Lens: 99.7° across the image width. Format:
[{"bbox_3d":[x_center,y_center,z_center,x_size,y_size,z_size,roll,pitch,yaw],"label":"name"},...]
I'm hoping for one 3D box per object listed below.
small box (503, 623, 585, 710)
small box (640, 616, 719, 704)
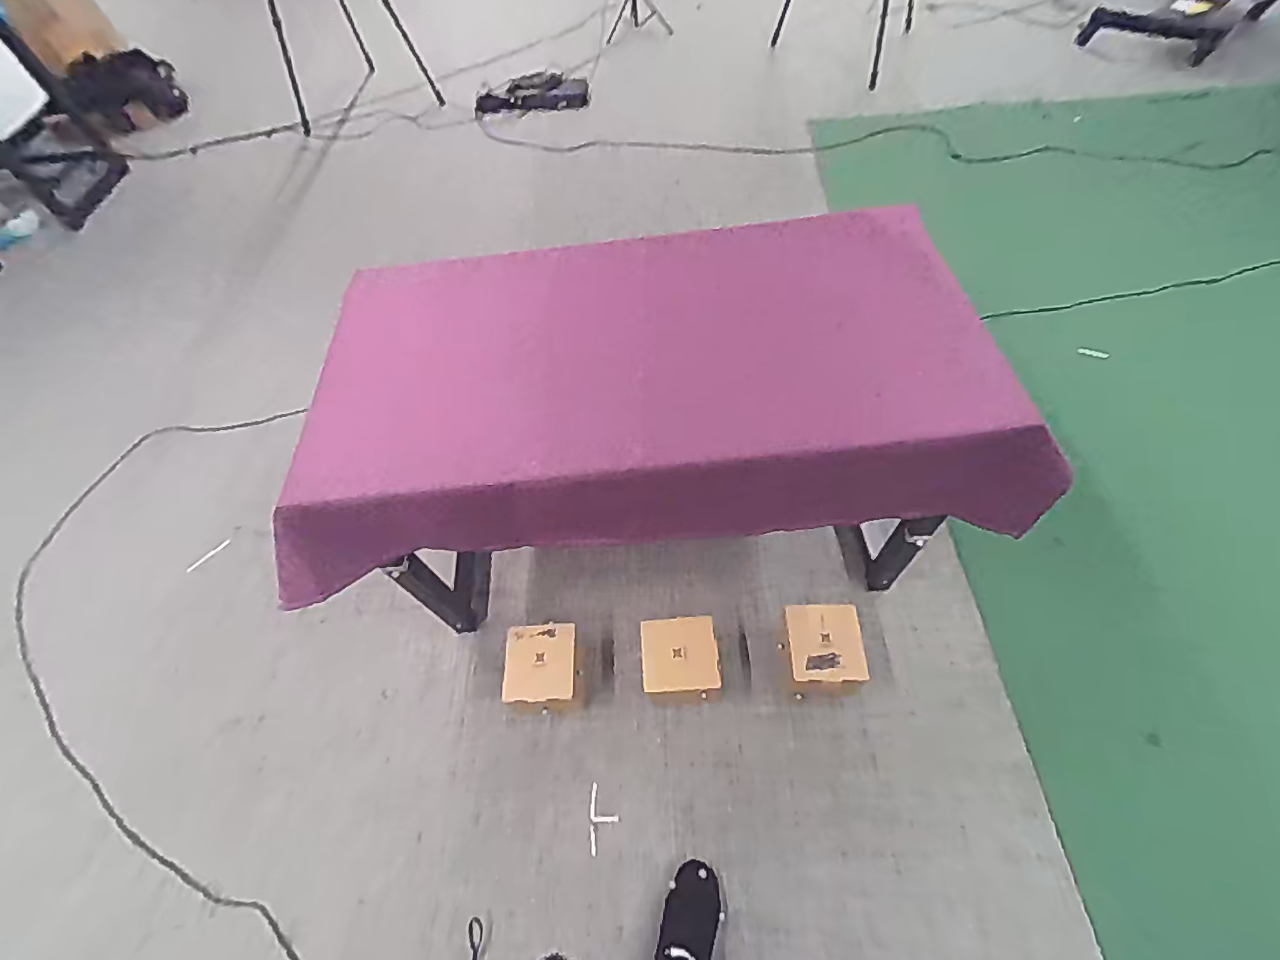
[{"bbox_3d":[-0.229,0.466,1.337,0.168,0.176,0.179,-3,58,1],"label":"small box"},{"bbox_3d":[0.096,0.444,1.321,0.179,0.176,0.168,-5,58,2],"label":"small box"}]
